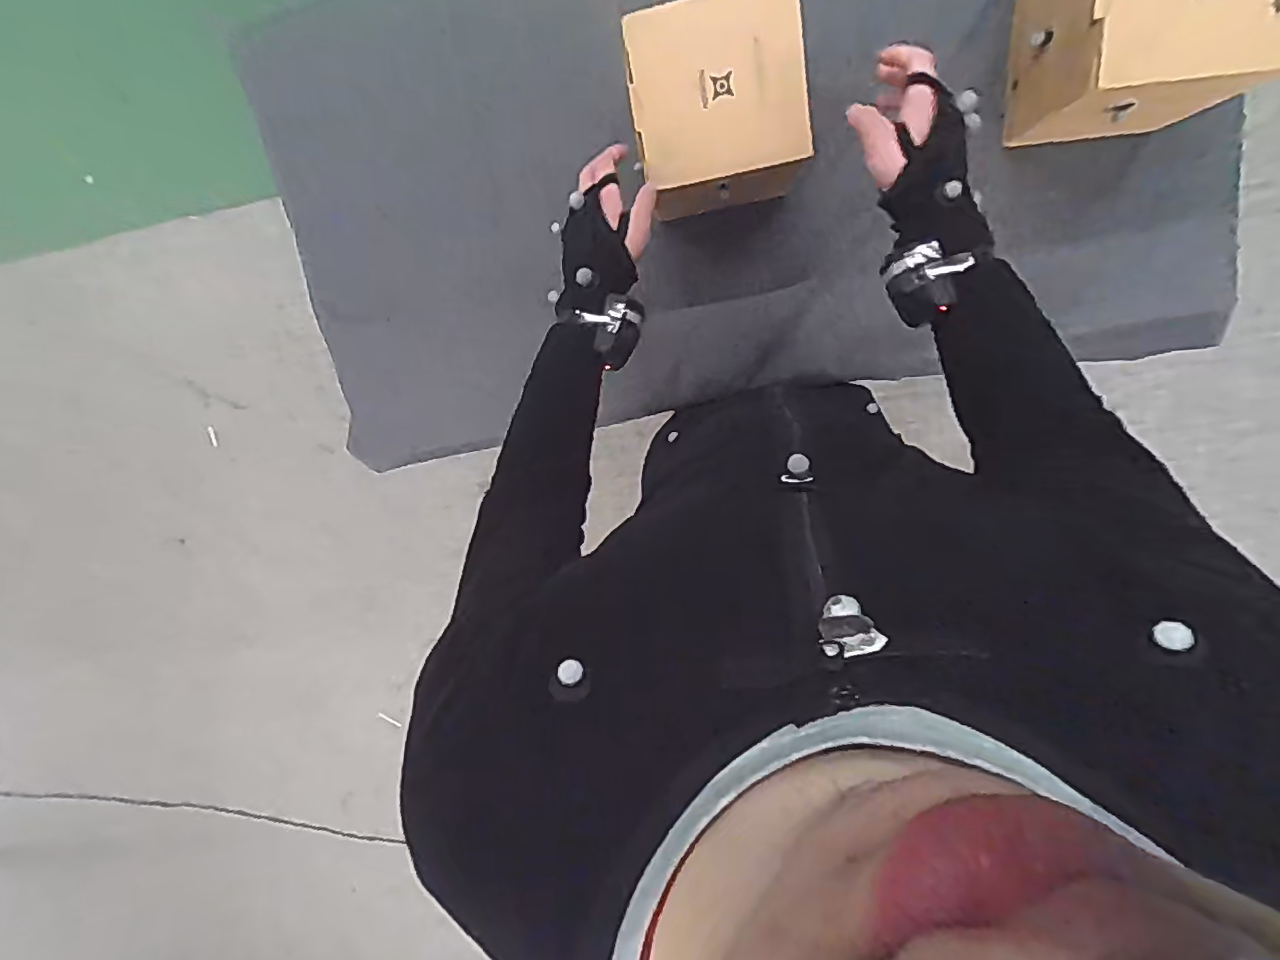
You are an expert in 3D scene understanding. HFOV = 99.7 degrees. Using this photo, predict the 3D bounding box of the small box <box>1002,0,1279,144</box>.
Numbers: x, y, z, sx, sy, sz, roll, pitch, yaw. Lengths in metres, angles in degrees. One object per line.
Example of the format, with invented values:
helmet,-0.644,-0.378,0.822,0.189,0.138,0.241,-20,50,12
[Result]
small box,0.513,-0.471,0.561,0.179,0.176,0.168,-2,106,7

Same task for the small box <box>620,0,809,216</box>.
small box,0.085,-0.421,0.626,0.179,0.176,0.168,-9,105,7
